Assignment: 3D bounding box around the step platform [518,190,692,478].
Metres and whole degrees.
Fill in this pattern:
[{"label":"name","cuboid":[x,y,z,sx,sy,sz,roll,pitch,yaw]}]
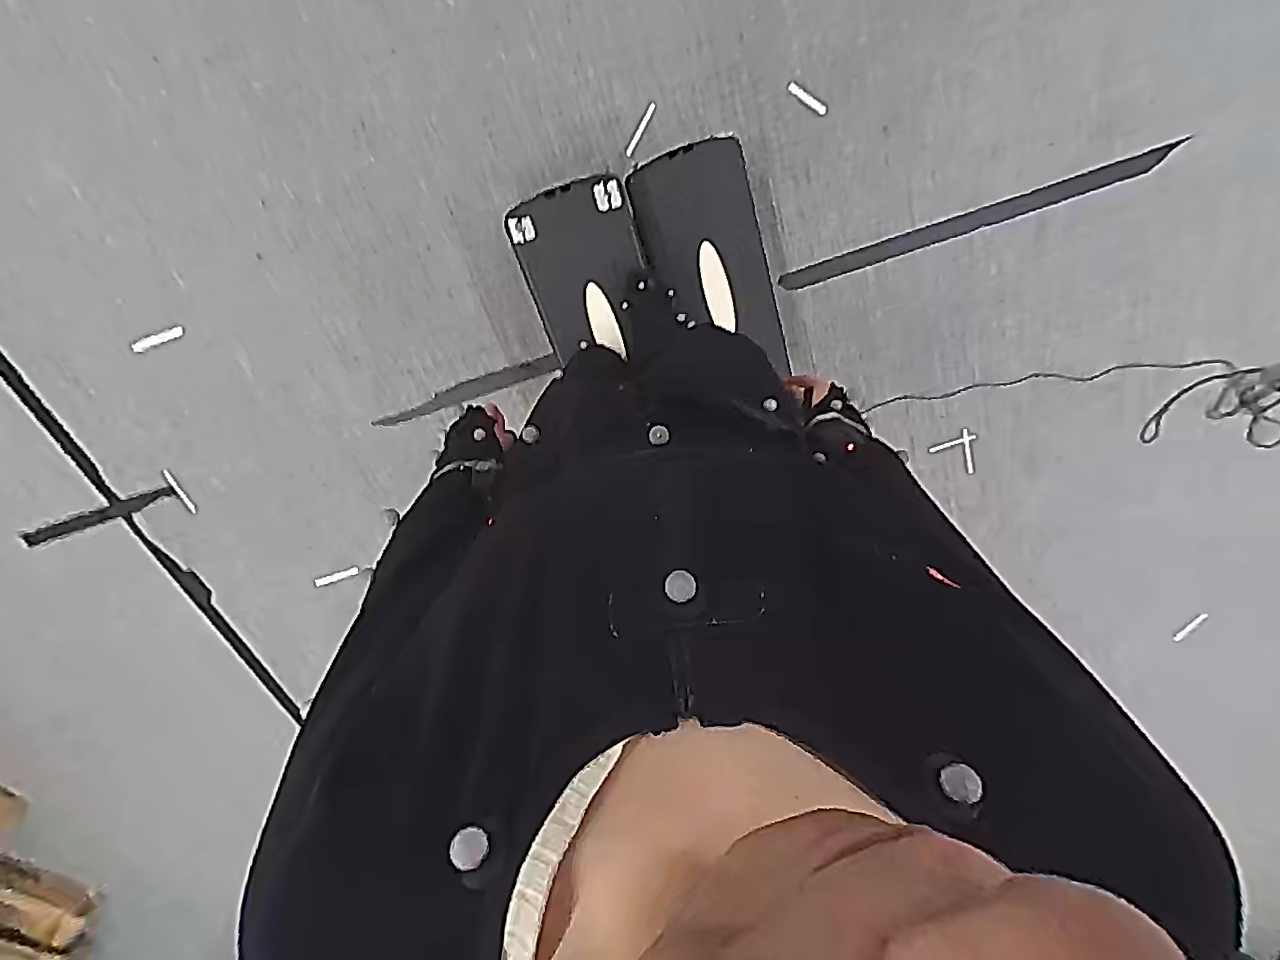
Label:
[{"label":"step platform","cuboid":[-0.072,-0.346,1.373,0.286,0.204,0.684,-14,110,3]}]
